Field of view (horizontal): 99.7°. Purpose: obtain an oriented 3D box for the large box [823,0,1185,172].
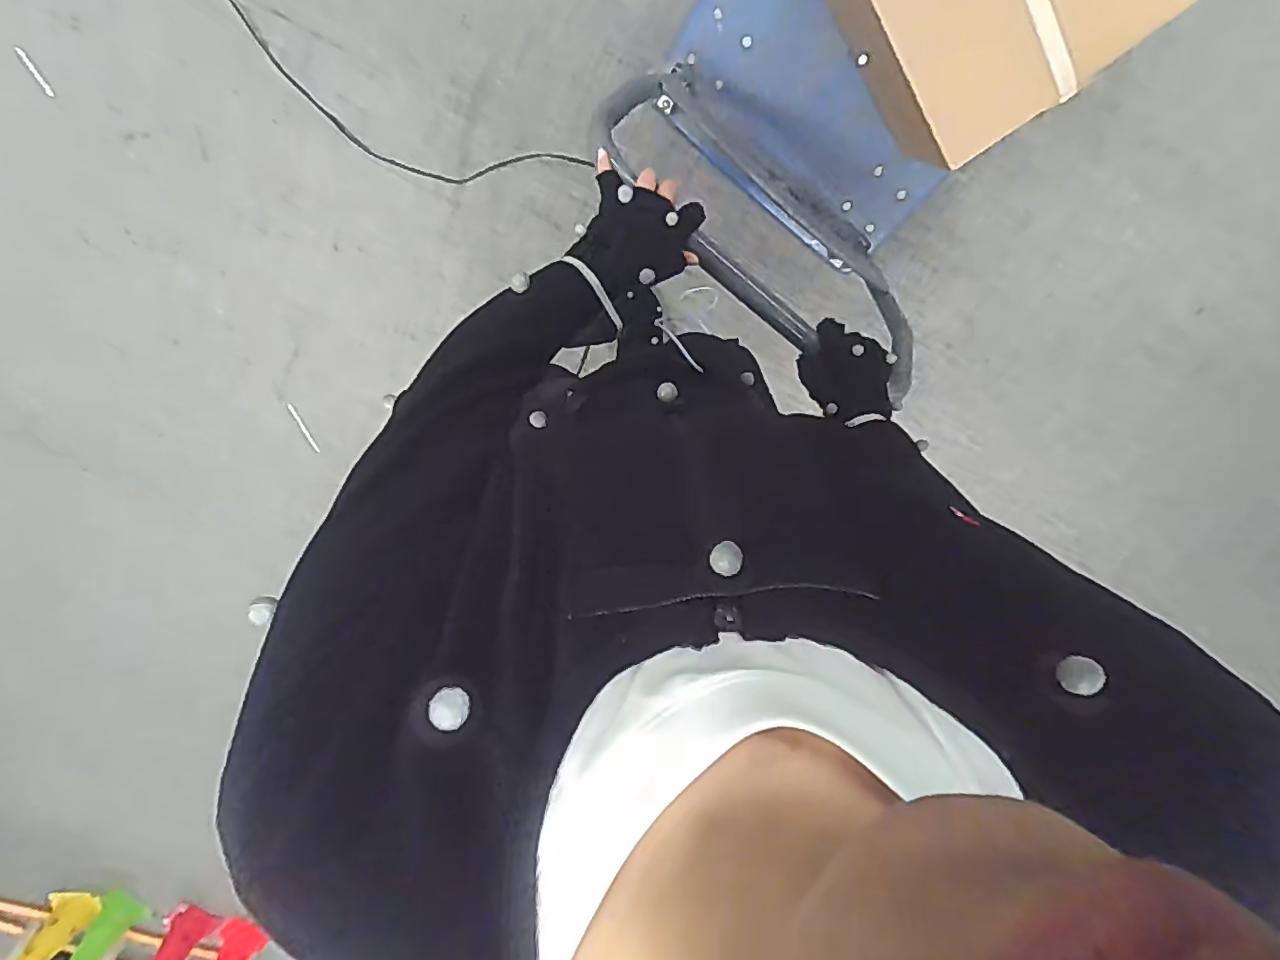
[{"bbox_3d":[0.486,-0.758,0.813,0.320,0.320,0.408,-30,114,27],"label":"large box"}]
